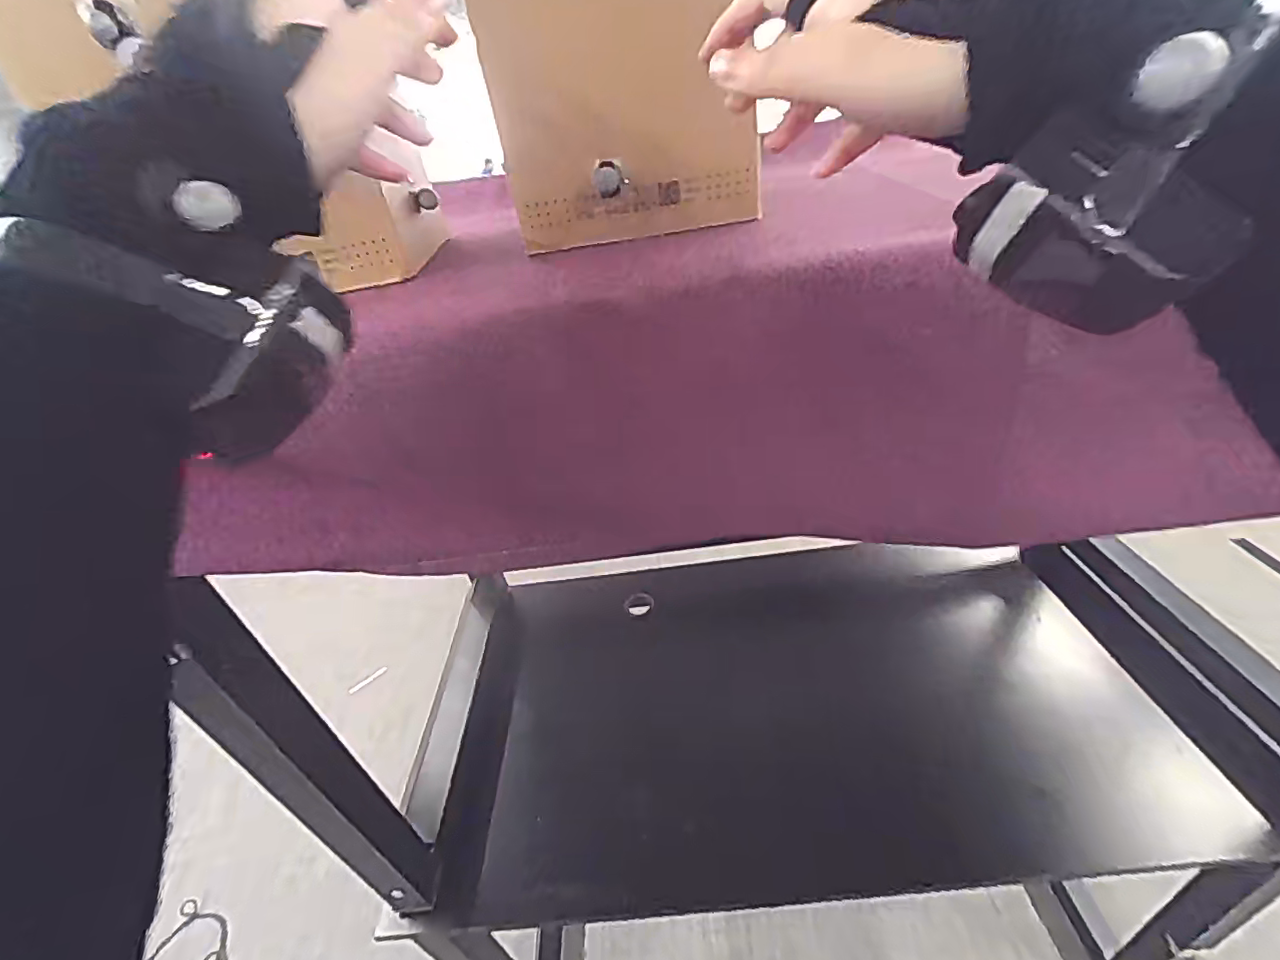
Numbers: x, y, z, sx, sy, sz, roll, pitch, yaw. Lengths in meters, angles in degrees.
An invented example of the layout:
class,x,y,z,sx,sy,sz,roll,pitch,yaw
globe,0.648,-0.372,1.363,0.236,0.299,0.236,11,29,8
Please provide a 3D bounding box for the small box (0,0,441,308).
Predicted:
class,x,y,z,sx,sy,sz,roll,pitch,yaw
small box,-0.255,-0.232,0.379,0.168,0.176,0.179,-12,33,-3

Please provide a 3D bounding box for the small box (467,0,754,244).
class,x,y,z,sx,sy,sz,roll,pitch,yaw
small box,-0.015,-0.283,0.395,0.168,0.176,0.179,-8,34,4
